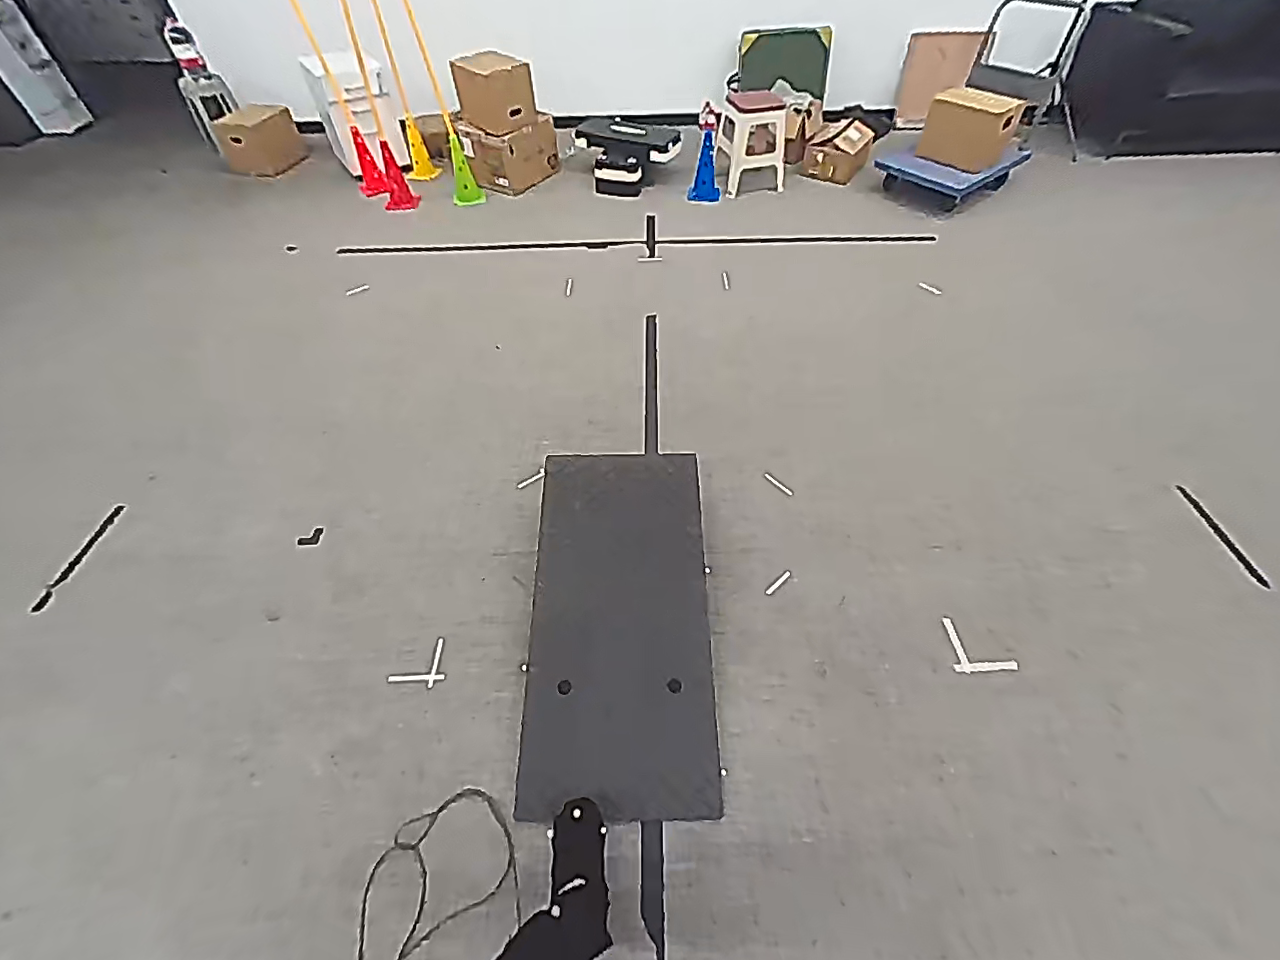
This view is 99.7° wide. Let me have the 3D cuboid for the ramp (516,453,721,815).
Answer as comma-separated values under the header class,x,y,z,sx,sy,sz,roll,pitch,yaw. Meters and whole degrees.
class,x,y,z,sx,sy,sz,roll,pitch,yaw
ramp,-0.052,0.351,1.513,0.509,0.206,0.991,-1,50,-1
